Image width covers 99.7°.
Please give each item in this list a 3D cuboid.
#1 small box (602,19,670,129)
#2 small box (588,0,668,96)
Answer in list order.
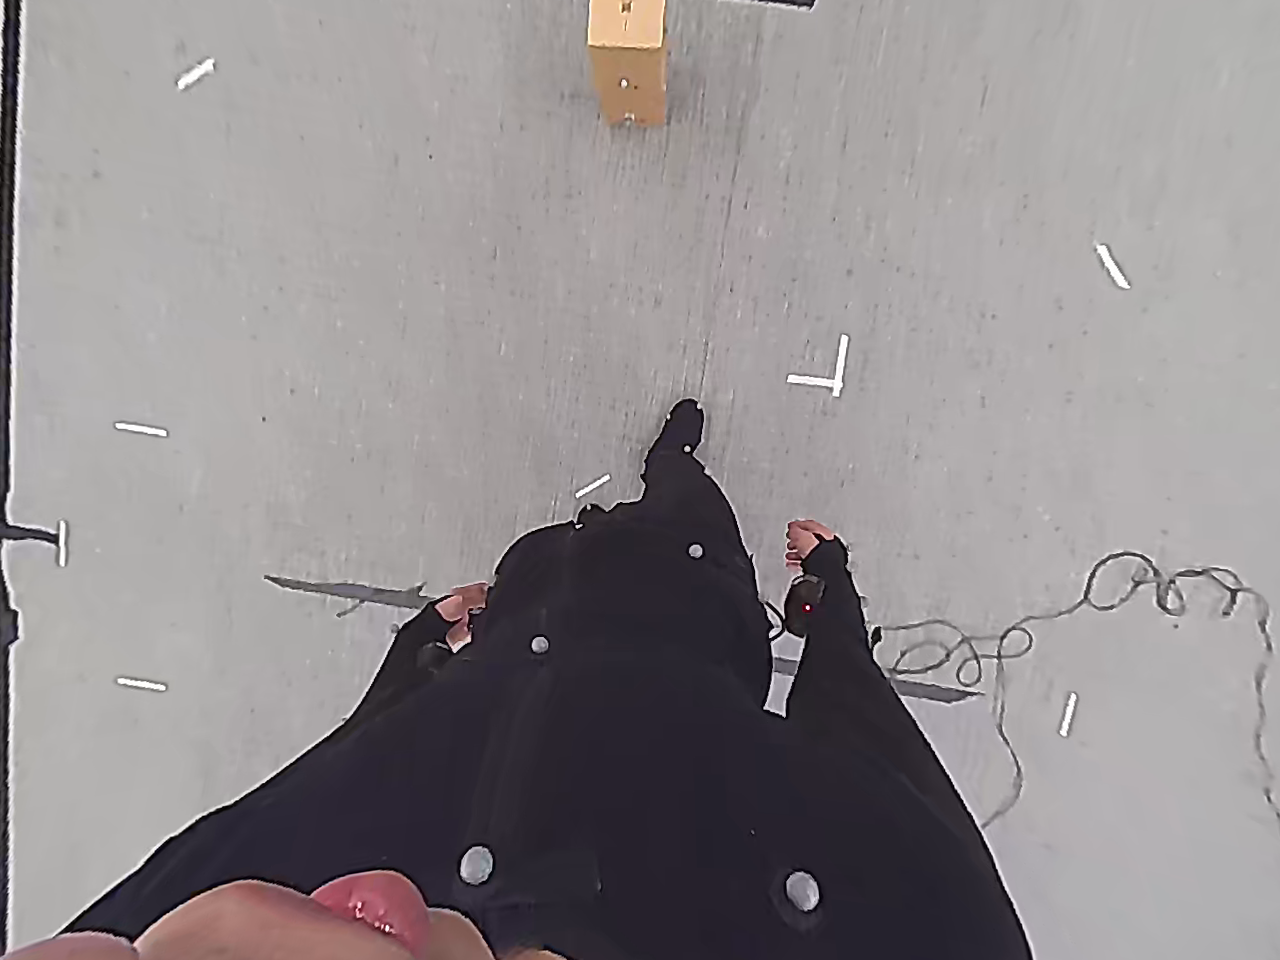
[{"bbox_3d":[-0.012,-1.054,1.408,0.168,0.176,0.179,3,97,1],"label":"small box"},{"bbox_3d":[-0.024,-1.033,1.246,0.168,0.176,0.179,5,97,2],"label":"small box"}]
